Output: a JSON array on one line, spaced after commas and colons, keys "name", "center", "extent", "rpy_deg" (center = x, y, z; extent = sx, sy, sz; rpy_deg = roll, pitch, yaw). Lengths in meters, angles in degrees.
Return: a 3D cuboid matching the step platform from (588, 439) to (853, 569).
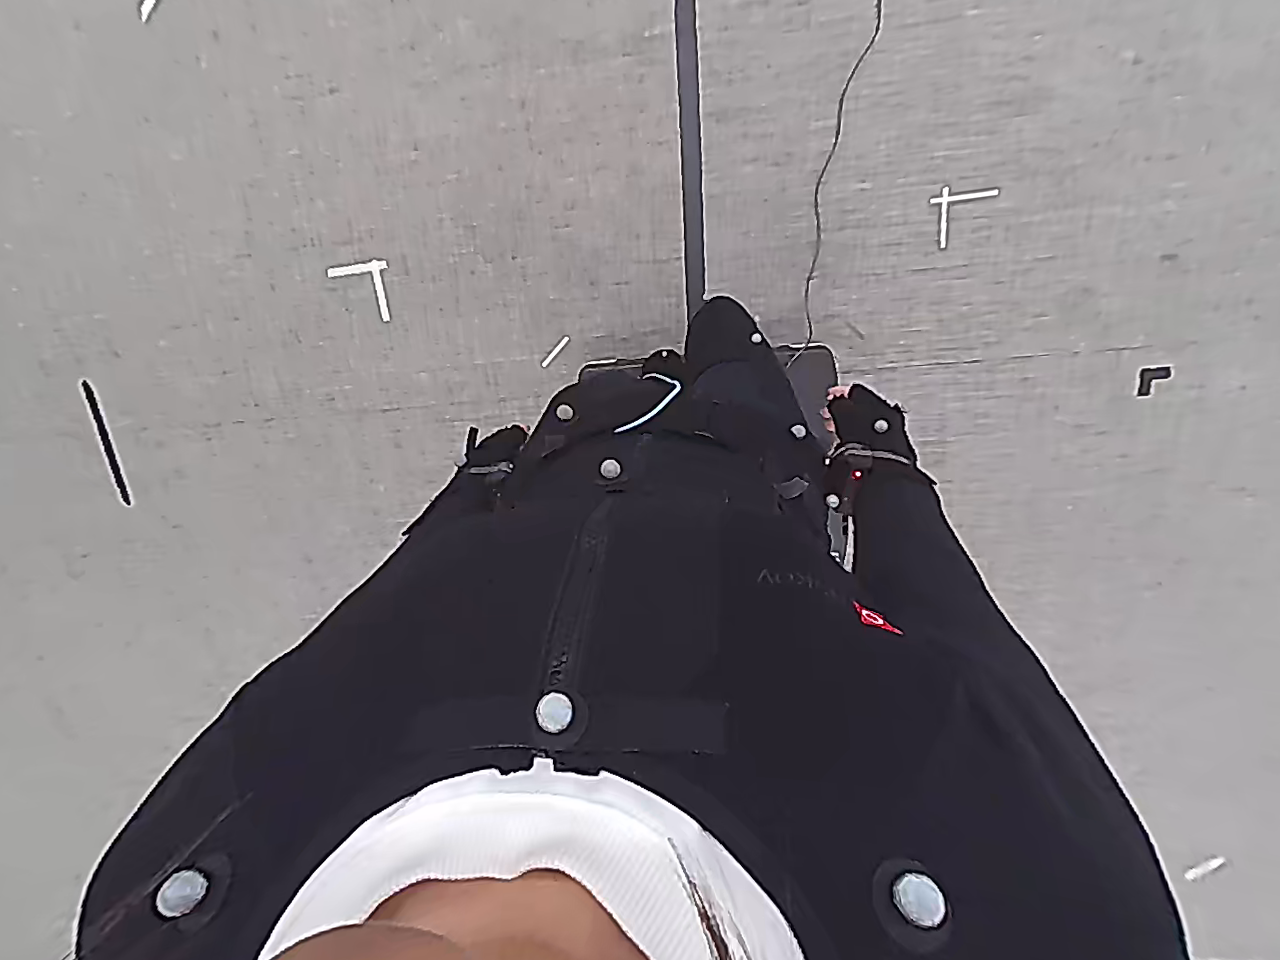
[{"name": "step platform", "center": [0.205, 0.068, 1.448], "extent": [0.684, 0.204, 0.286], "rpy_deg": [-4, 103, 8]}]
